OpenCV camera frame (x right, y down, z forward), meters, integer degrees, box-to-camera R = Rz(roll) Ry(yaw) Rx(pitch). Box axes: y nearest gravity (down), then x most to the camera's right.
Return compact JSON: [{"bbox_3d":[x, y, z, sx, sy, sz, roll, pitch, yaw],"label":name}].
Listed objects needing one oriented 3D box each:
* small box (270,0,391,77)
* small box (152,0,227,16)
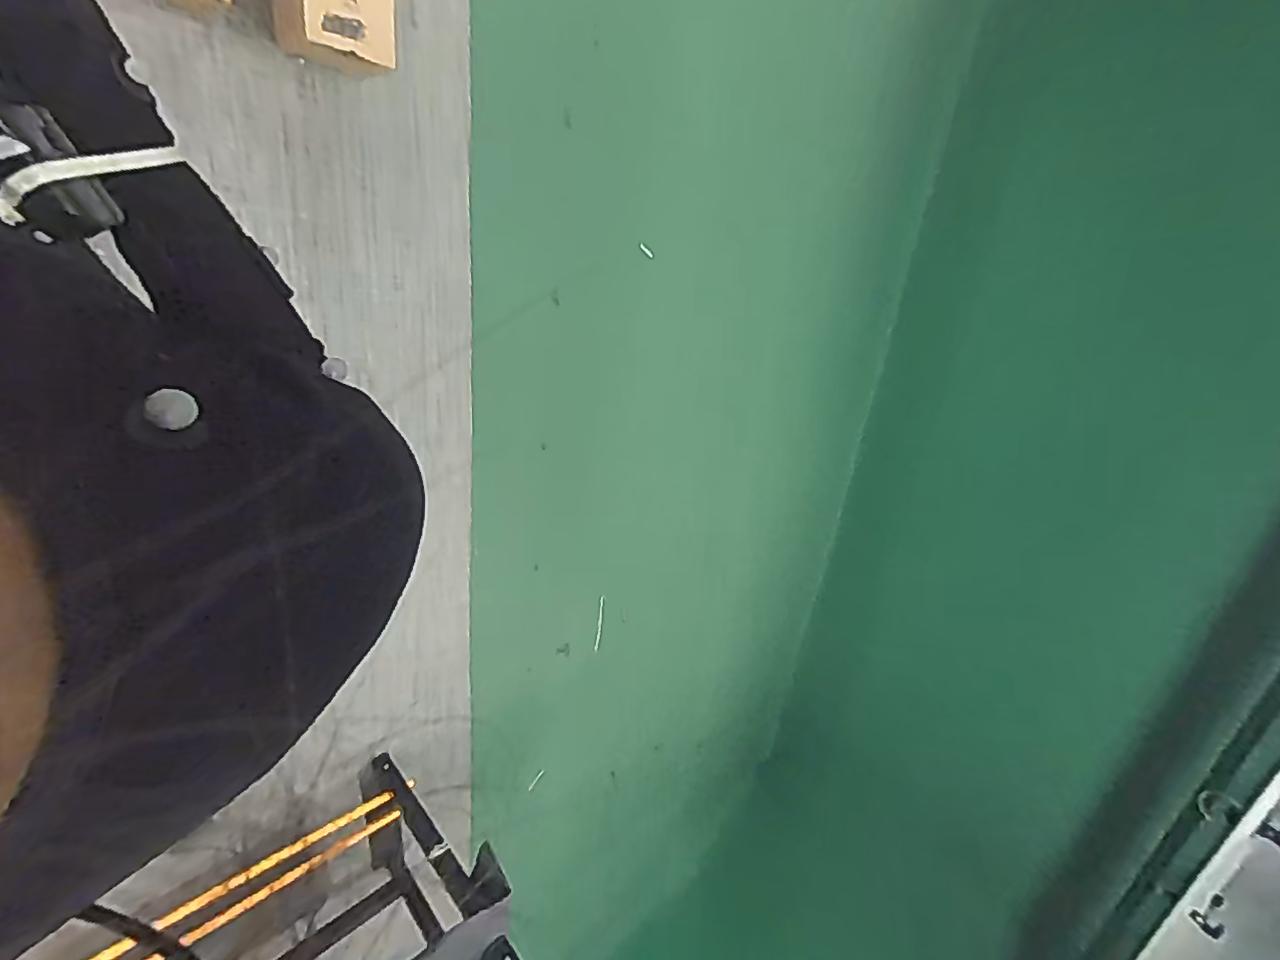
[{"bbox_3d":[-0.607,-0.925,1.060,0.168,0.176,0.179,-13,119,-45],"label":"small box"},{"bbox_3d":[-0.790,-0.894,0.865,0.168,0.176,0.179,-13,119,-46],"label":"small box"}]
